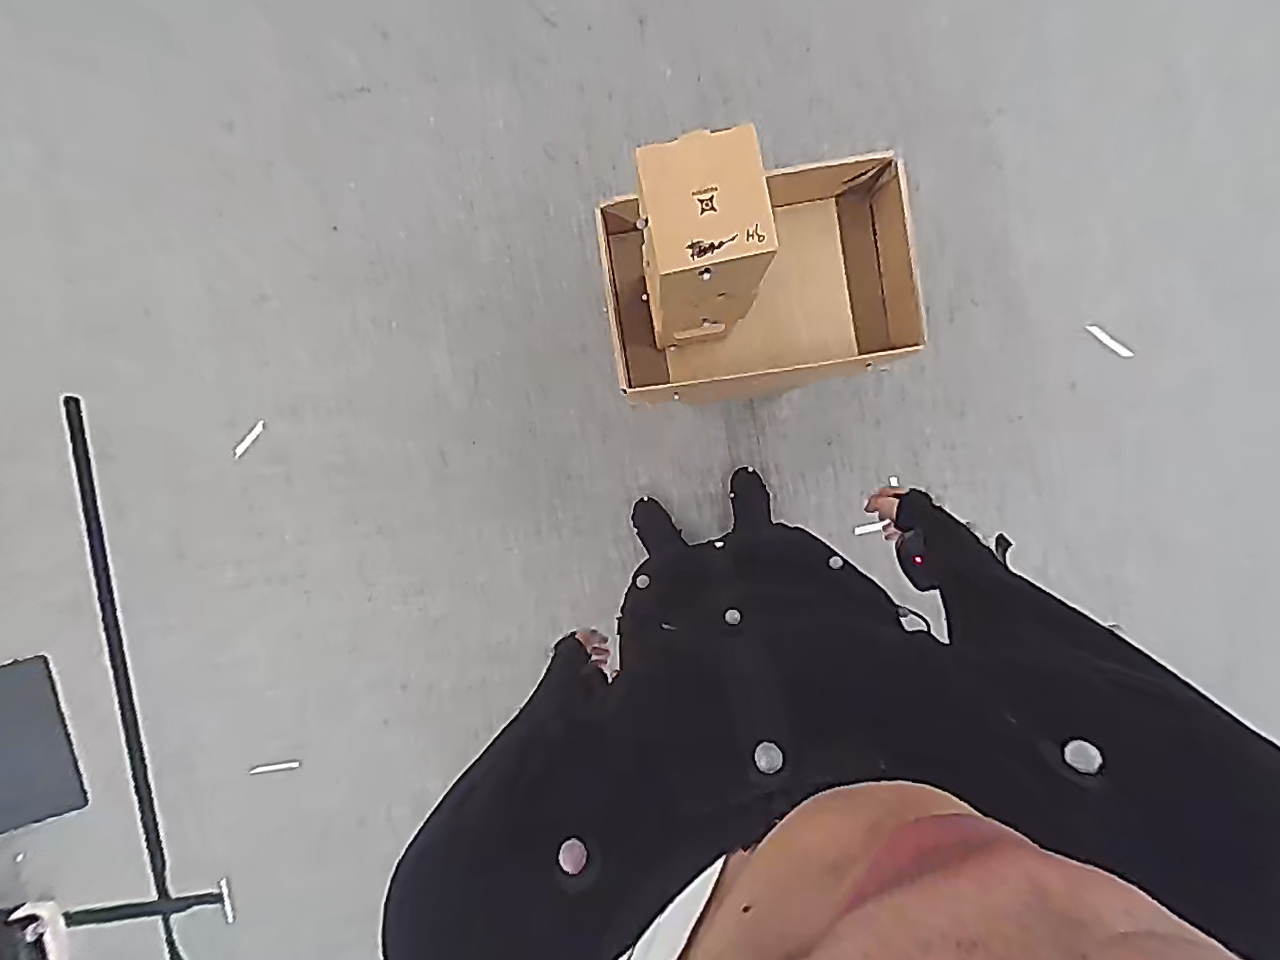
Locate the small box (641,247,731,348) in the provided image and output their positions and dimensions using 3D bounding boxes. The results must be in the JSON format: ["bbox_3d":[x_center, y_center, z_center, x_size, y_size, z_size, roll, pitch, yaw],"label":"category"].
[{"bbox_3d":[0.099,-0.383,1.132,0.168,0.176,0.179,-10,90,2],"label":"small box"}]

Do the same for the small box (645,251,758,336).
[{"bbox_3d":[0.102,-0.376,0.967,0.168,0.176,0.179,-11,91,2],"label":"small box"}]

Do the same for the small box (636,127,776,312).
[{"bbox_3d":[0.090,-0.373,0.803,0.168,0.176,0.179,-11,90,2],"label":"small box"}]
